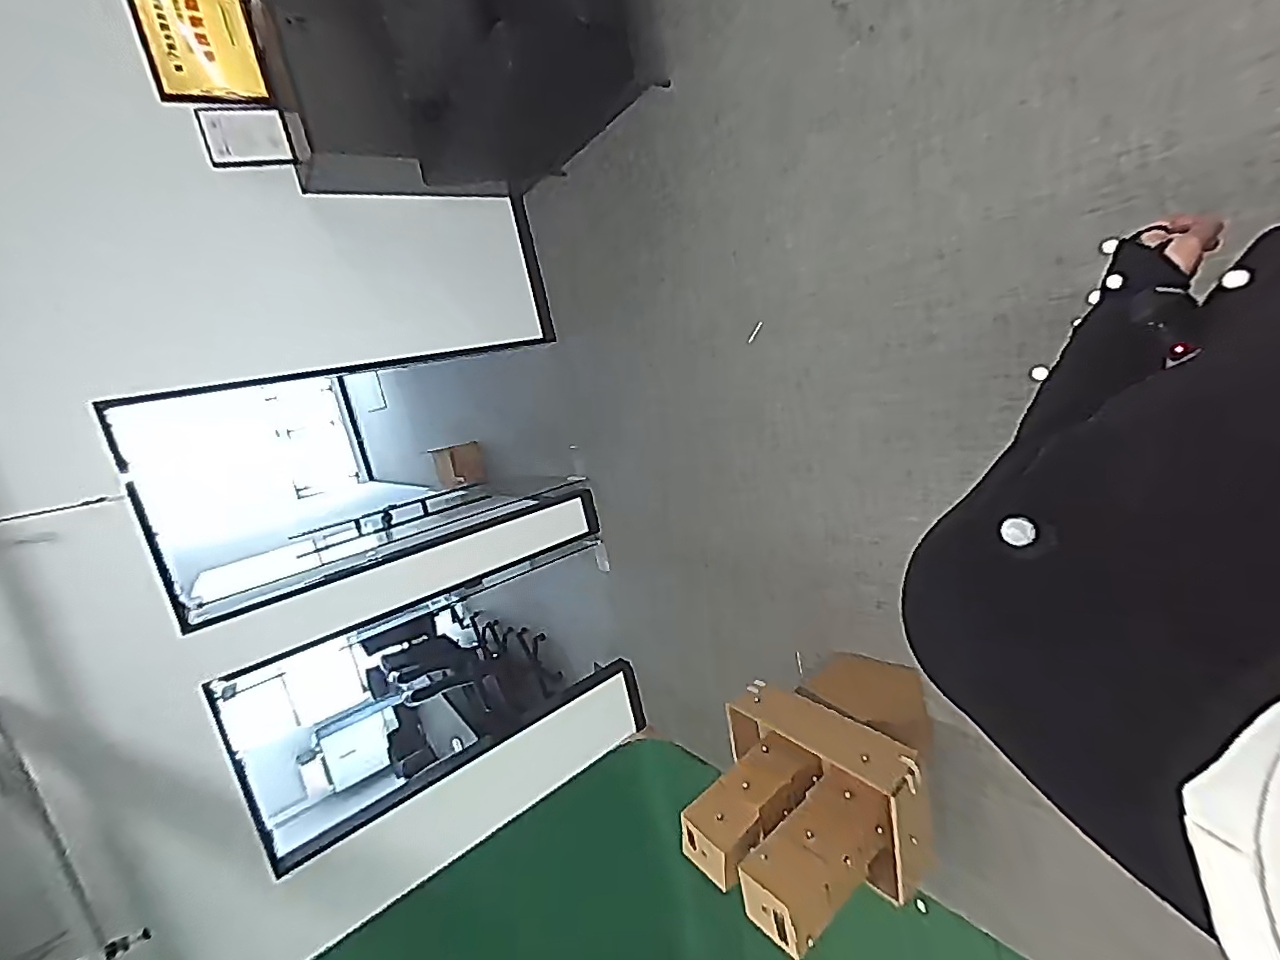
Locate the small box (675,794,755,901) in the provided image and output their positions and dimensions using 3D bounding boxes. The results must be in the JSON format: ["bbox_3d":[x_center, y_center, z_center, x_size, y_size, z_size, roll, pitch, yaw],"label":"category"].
[{"bbox_3d":[0.224,1.092,1.630,0.179,0.176,0.168,17,118,46],"label":"small box"}]

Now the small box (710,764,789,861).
[{"bbox_3d":[0.351,1.046,1.724,0.179,0.176,0.168,4,107,50],"label":"small box"}]

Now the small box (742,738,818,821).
[{"bbox_3d":[0.473,1.005,1.822,0.179,0.176,0.168,5,110,51],"label":"small box"}]

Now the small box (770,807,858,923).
[{"bbox_3d":[0.499,1.078,1.535,0.179,0.176,0.168,3,107,54],"label":"small box"}]
